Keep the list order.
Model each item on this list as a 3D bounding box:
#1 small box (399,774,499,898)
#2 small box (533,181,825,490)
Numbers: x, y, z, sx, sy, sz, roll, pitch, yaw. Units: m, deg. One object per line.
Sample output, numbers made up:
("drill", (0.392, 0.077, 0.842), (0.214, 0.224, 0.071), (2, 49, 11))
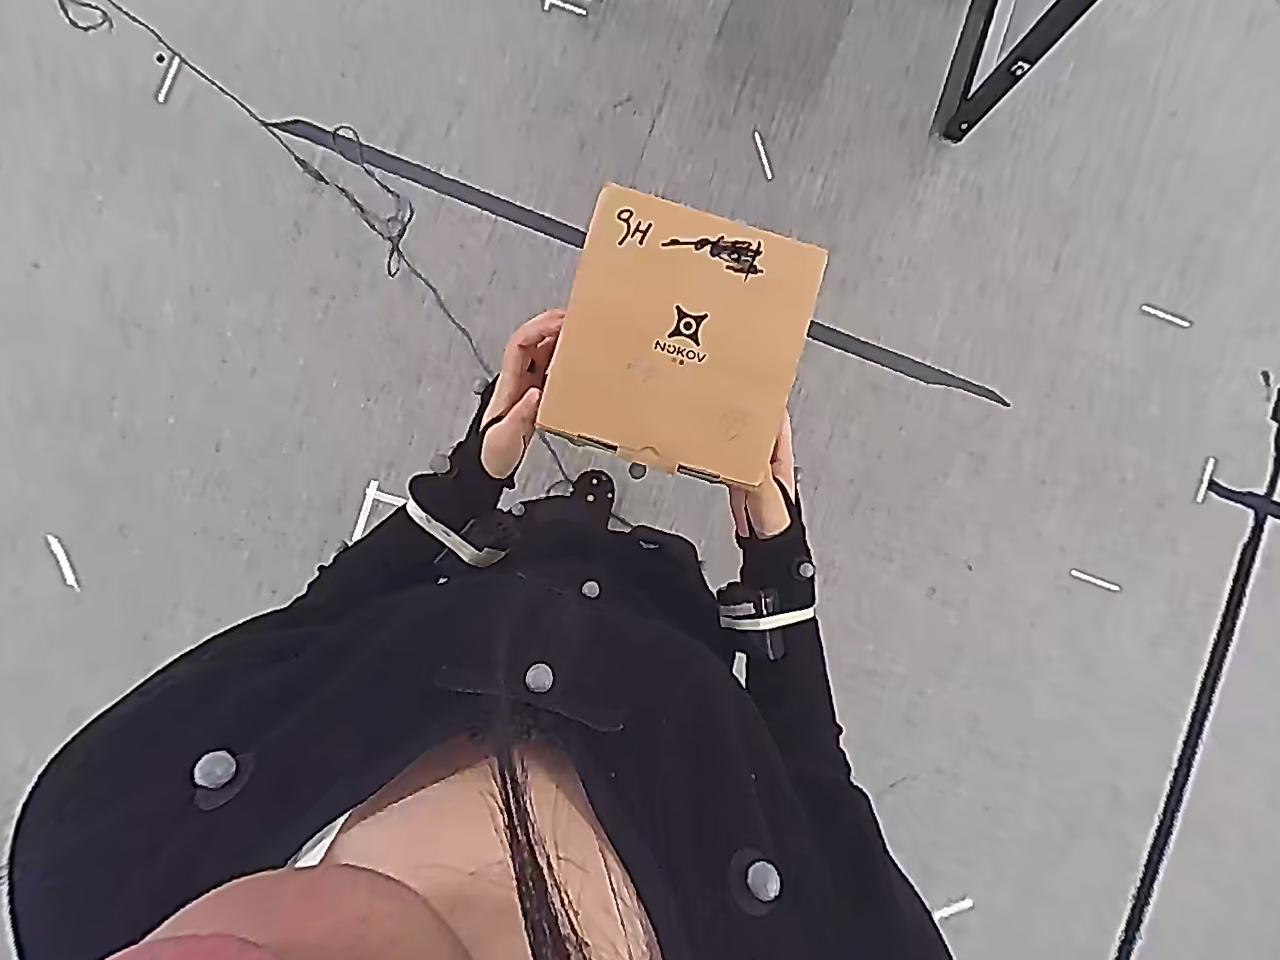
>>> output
("small box", (-0.477, 0.900, 1.382), (0.168, 0.176, 0.179), (22, 88, -3))
("small box", (0.024, -0.101, 0.452), (0.168, 0.176, 0.179), (16, 92, -3))
